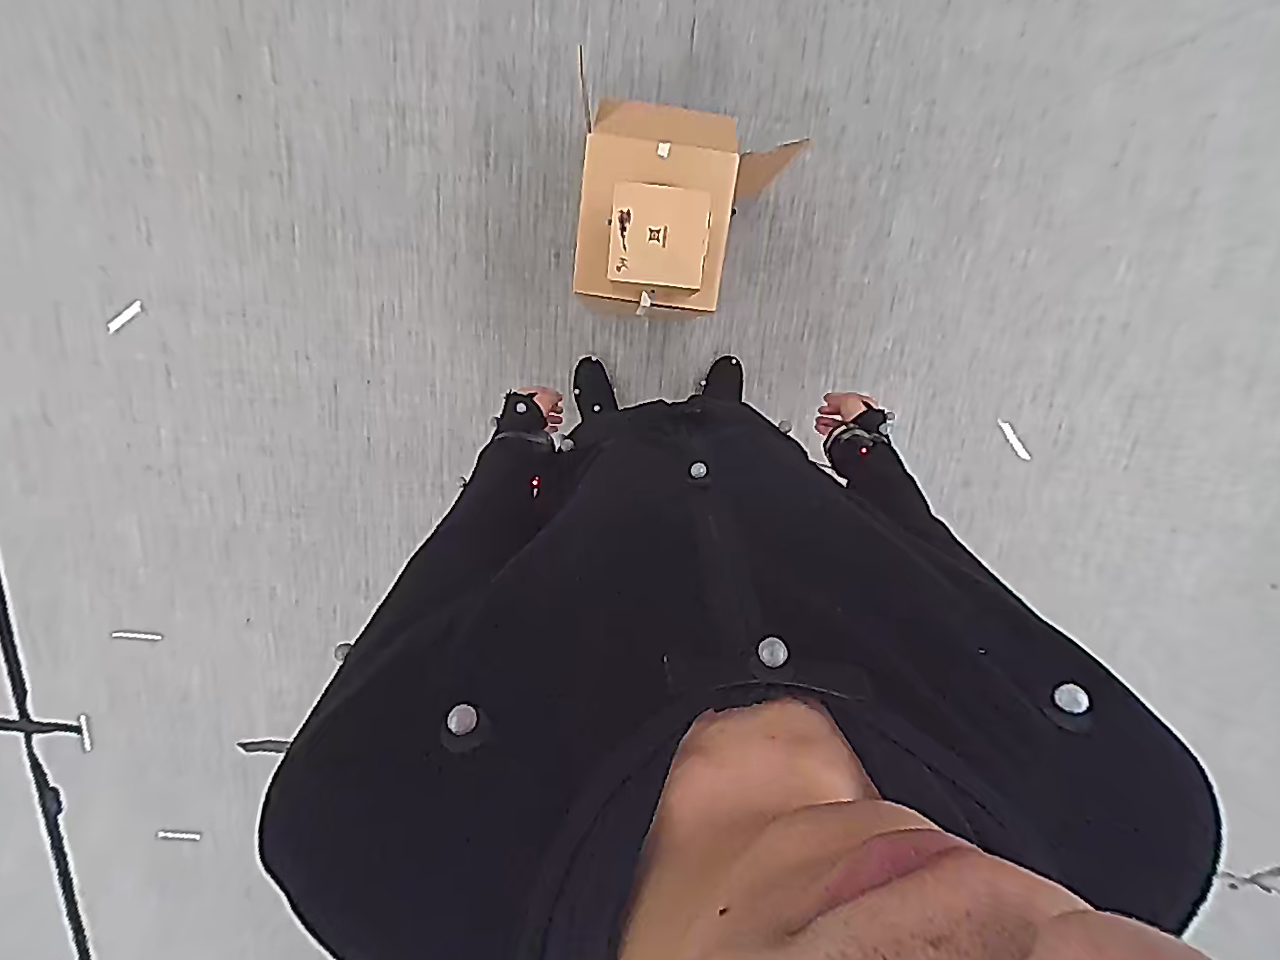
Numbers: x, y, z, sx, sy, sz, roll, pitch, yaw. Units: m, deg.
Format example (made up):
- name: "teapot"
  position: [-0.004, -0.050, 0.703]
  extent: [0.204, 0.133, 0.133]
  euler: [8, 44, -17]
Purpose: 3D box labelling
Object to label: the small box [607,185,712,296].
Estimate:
- name: "small box"
  position: [0.033, -0.456, 1.055]
  extent: [0.179, 0.176, 0.168]
  euler: [6, 105, -3]
